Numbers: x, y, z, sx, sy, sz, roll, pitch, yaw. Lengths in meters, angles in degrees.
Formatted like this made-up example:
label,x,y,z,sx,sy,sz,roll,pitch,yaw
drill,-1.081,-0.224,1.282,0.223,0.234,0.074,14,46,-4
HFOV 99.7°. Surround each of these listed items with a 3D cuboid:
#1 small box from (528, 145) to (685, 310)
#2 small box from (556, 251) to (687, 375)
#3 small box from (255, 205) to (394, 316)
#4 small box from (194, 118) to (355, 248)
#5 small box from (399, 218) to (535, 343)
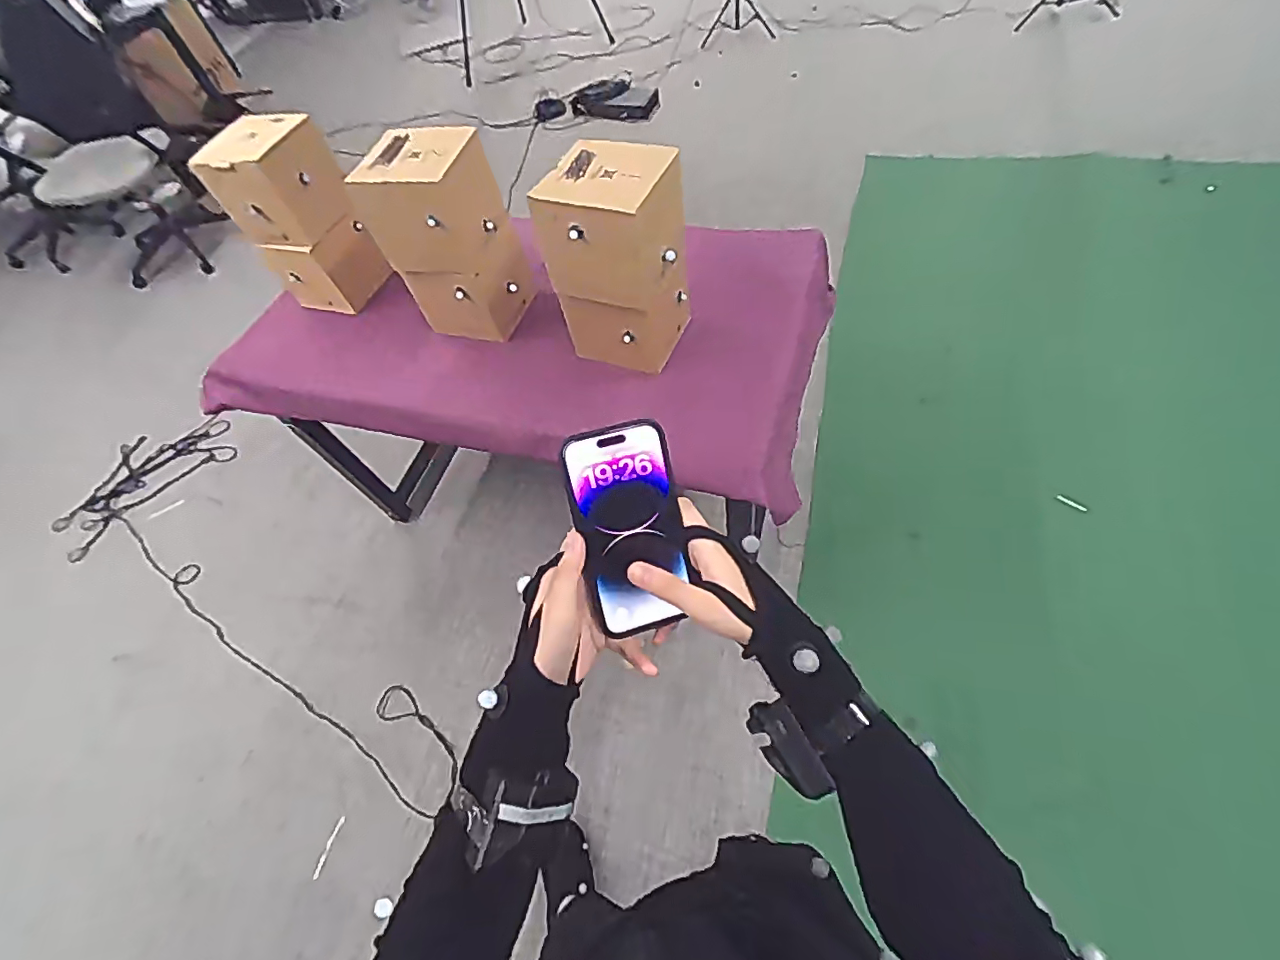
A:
label,x,y,z,sx,sy,sz,roll,pitch,yaw
small box,-0.041,-0.391,0.846,0.179,0.176,0.168,18,62,19
small box,-0.022,-0.317,0.992,0.179,0.176,0.168,18,62,20
small box,-0.696,-0.495,1.216,0.168,0.176,0.179,13,60,17
small box,-0.715,-0.590,1.084,0.168,0.176,0.179,9,60,14
small box,-0.337,-0.399,1.094,0.179,0.176,0.168,12,60,17
